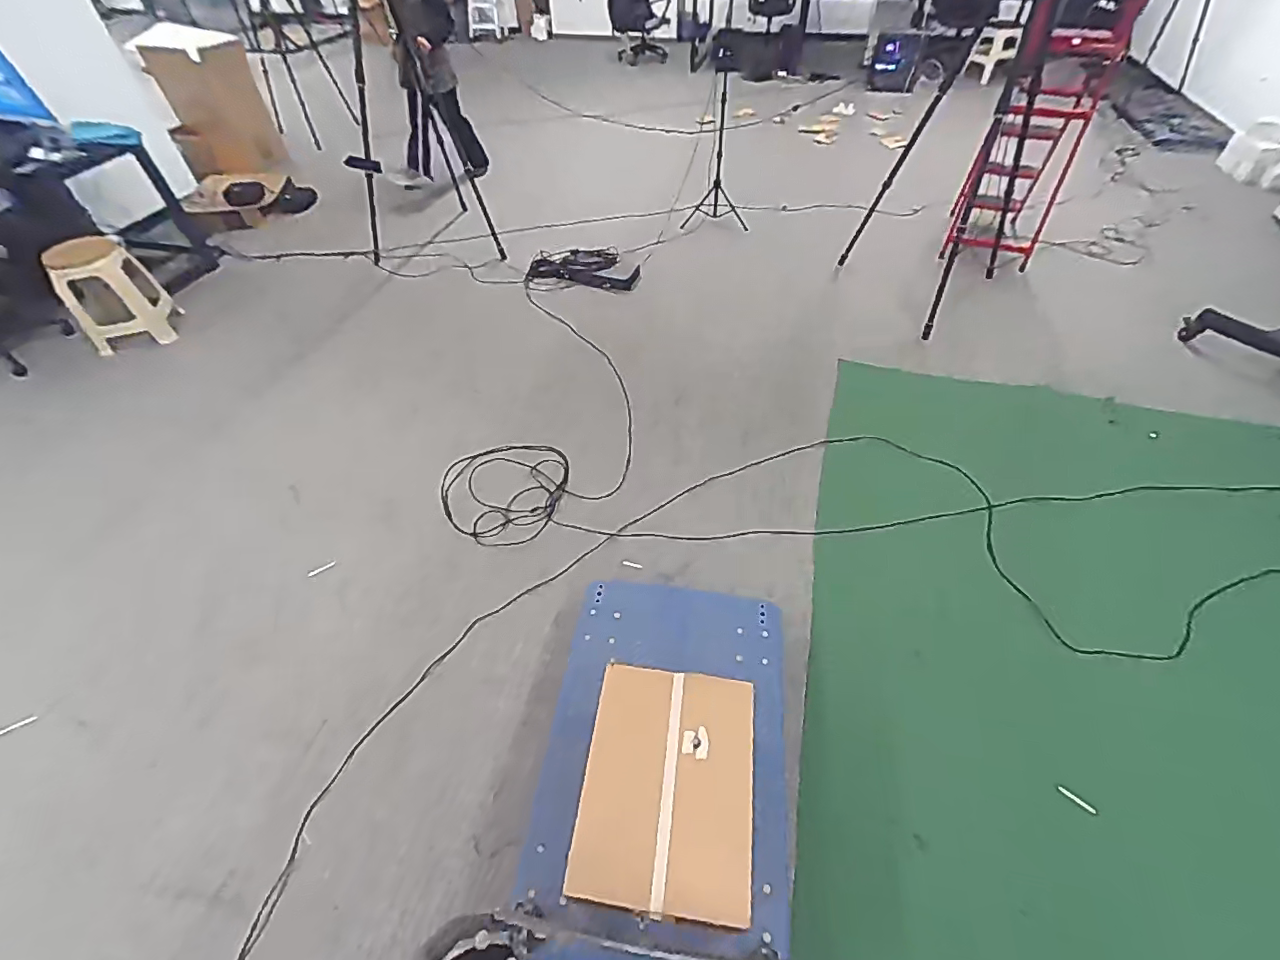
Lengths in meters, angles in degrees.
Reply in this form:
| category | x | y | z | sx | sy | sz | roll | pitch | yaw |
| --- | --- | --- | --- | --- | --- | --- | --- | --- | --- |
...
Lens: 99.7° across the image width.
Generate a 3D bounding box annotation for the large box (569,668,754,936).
| category | x | y | z | sx | sy | sz | roll | pitch | yaw |
| --- | --- | --- | --- | --- | --- | --- | --- | --- | --- |
| large box | 0.058 | 0.661 | 1.121 | 0.320 | 0.320 | 0.408 | 6 | 48 | 6 |
